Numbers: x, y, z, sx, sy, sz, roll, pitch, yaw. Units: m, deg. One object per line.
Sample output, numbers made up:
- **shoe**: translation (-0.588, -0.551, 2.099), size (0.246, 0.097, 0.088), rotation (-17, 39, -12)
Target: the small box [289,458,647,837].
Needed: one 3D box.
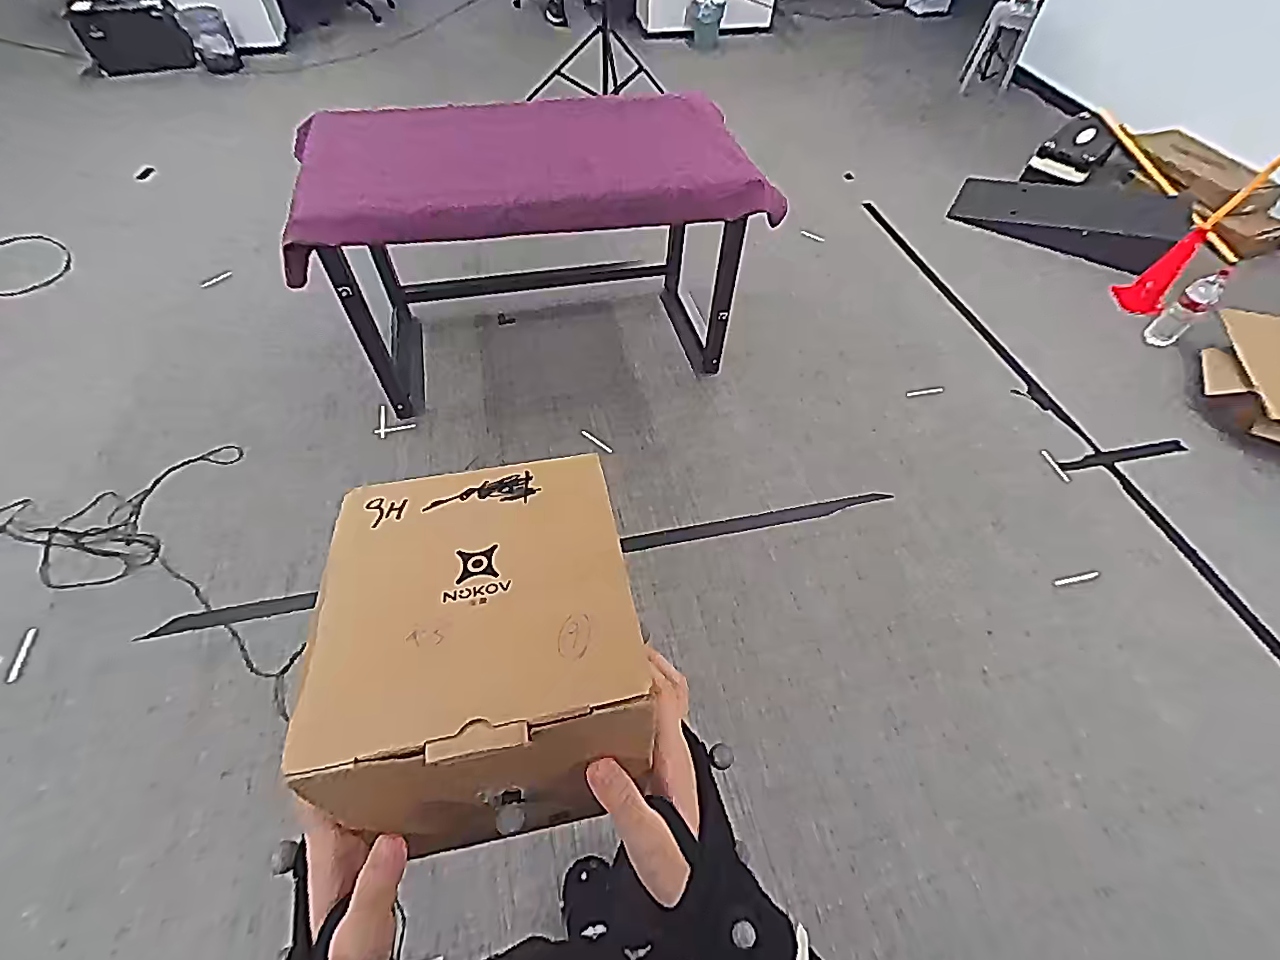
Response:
- **small box**: translation (-0.090, 0.113, 0.359), size (0.168, 0.176, 0.179), rotation (-9, 46, -8)
